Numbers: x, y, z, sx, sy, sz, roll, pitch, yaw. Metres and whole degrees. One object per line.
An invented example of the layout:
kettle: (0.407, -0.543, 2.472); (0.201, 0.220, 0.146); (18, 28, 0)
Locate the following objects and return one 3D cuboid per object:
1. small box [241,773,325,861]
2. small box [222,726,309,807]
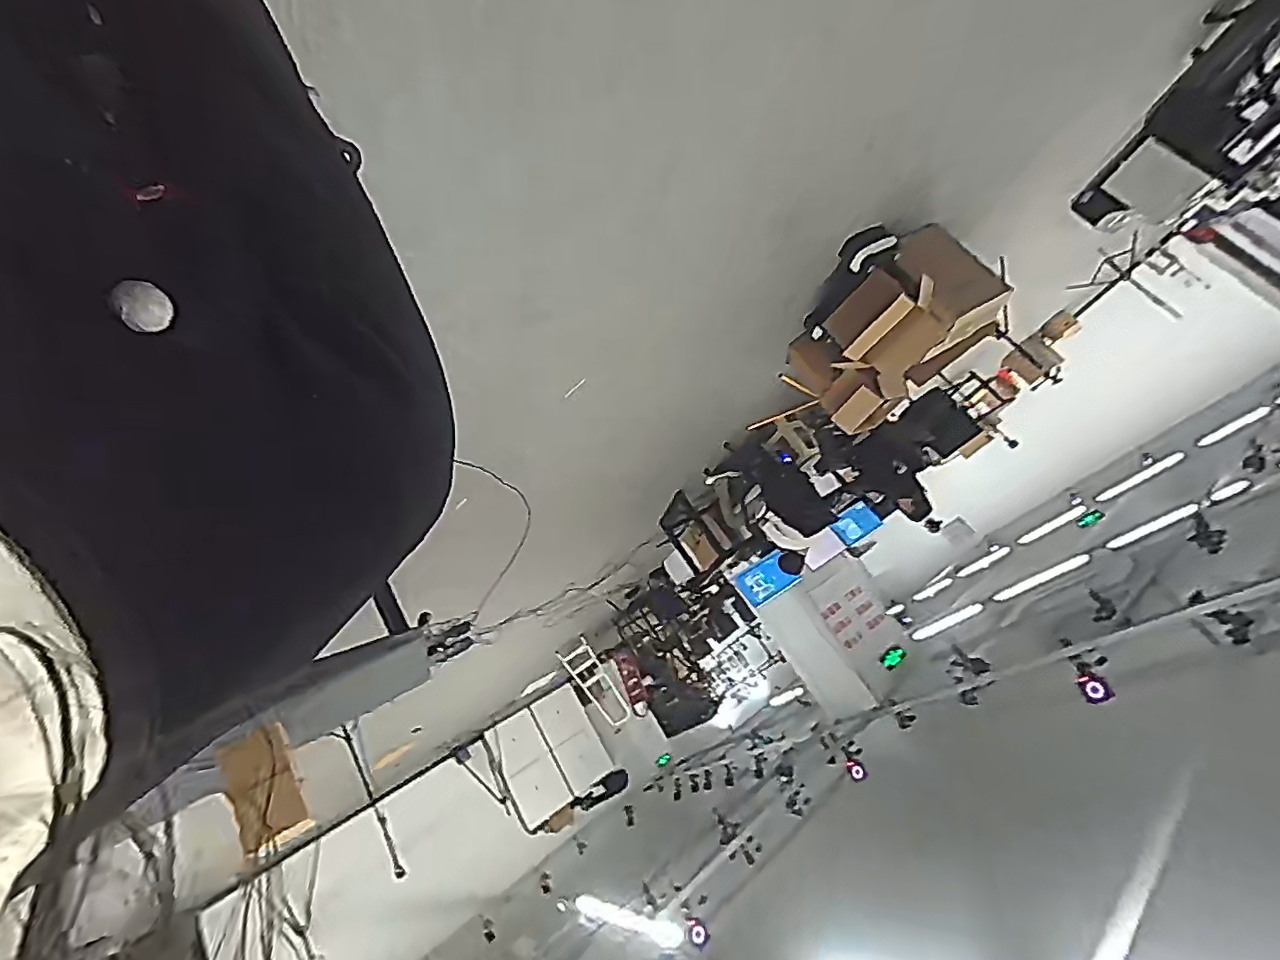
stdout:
small box: (-1.114, 1.050, 1.692); (0.168, 0.176, 0.179); (-22, 155, -33)
small box: (-1.208, 0.928, 1.749); (0.179, 0.176, 0.168); (-21, 155, -32)
